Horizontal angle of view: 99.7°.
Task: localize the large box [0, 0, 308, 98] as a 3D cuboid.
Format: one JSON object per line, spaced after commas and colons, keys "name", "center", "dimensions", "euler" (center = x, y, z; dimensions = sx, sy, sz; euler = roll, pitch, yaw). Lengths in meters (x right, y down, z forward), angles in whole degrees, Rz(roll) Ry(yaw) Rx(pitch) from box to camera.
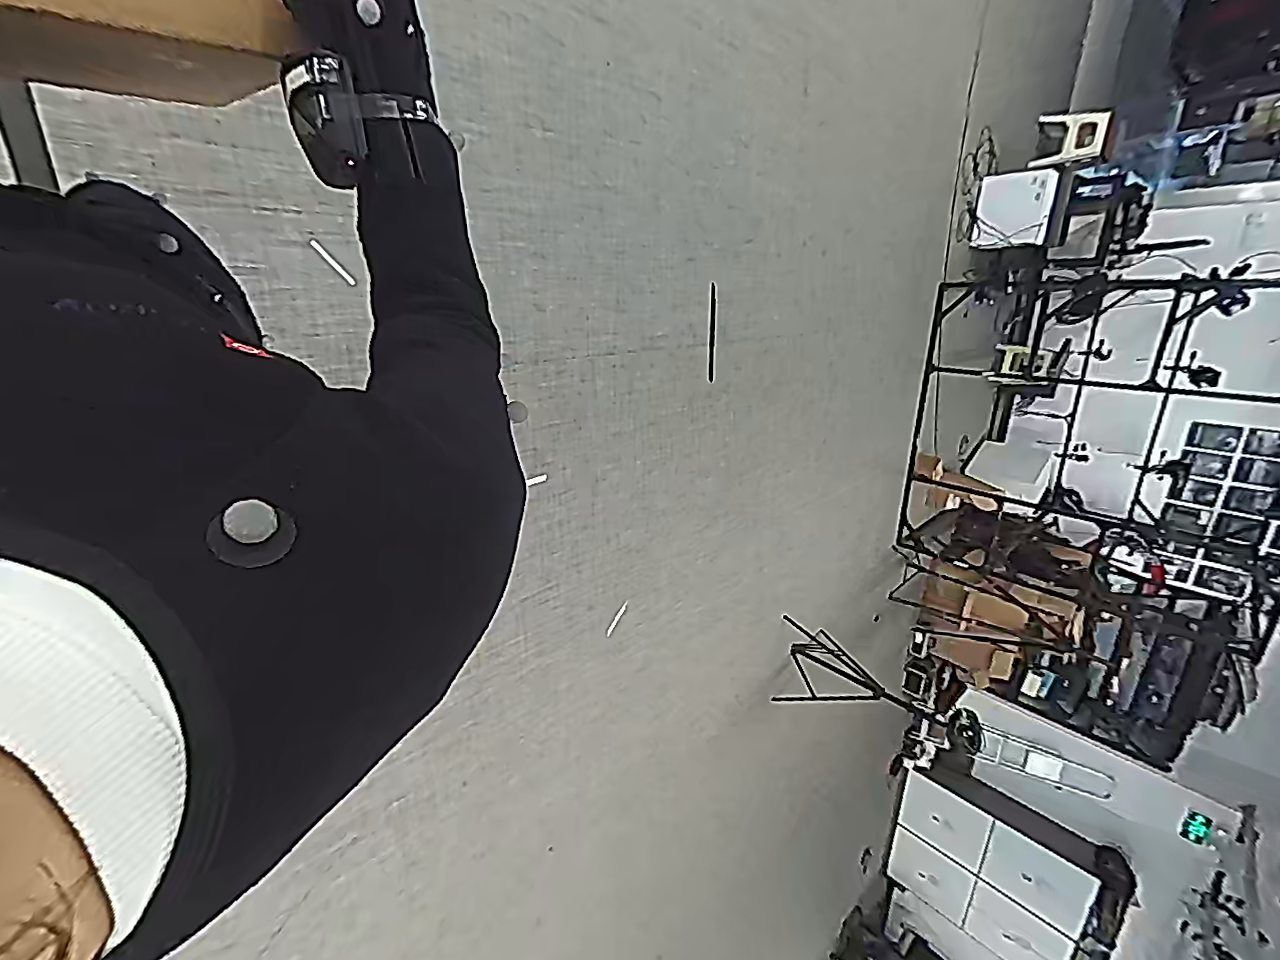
{"name": "large box", "center": [-0.458, -0.409, 0.258], "dimensions": [0.408, 0.320, 0.320], "euler": [-22, 126, -40]}
